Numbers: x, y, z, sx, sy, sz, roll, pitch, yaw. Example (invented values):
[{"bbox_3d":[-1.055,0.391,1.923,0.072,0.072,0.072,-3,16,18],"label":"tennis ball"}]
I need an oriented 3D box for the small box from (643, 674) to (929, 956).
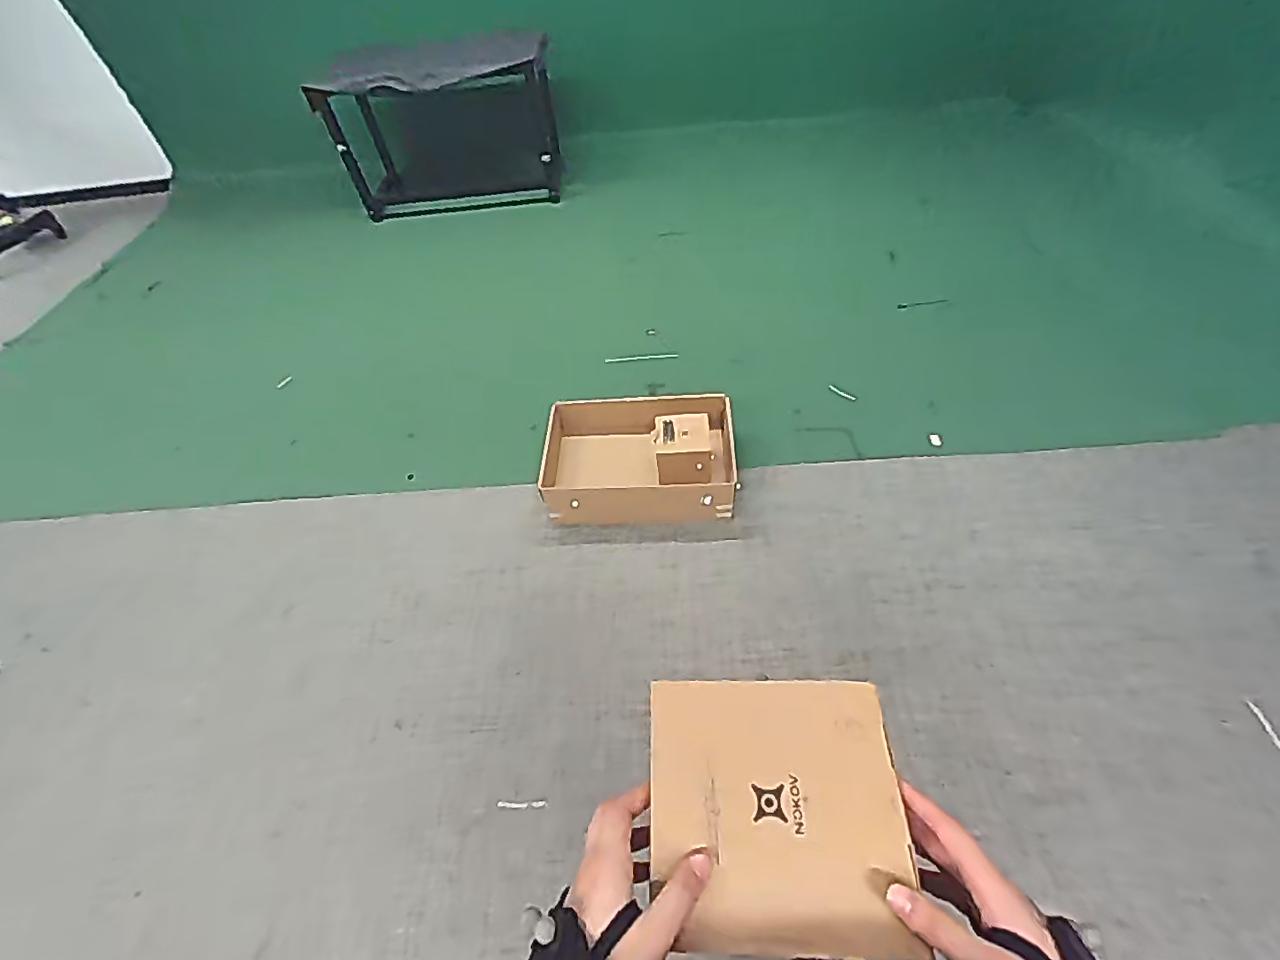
[{"bbox_3d":[0.097,0.264,0.440,0.179,0.176,0.168,-3,54,5],"label":"small box"}]
